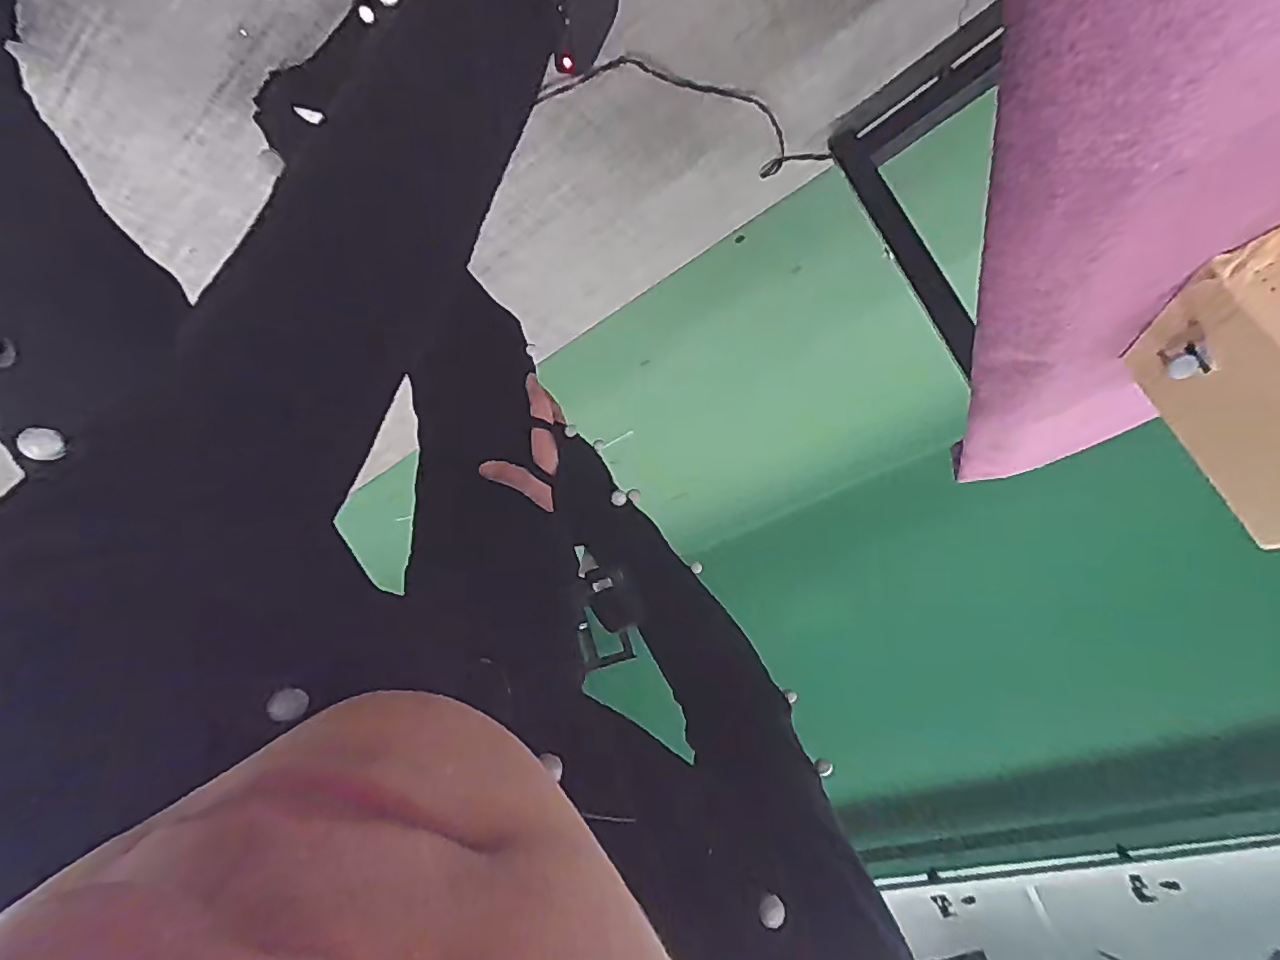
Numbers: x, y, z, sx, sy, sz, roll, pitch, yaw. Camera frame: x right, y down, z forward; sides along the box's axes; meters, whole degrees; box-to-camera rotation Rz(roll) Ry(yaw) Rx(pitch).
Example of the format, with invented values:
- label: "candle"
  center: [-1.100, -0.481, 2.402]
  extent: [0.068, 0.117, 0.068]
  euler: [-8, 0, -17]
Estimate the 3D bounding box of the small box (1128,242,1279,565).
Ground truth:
- label: "small box"
  center: [0.438, -0.064, 0.298]
  extent: [0.179, 0.176, 0.168]
  euler: [-28, 158, 22]
